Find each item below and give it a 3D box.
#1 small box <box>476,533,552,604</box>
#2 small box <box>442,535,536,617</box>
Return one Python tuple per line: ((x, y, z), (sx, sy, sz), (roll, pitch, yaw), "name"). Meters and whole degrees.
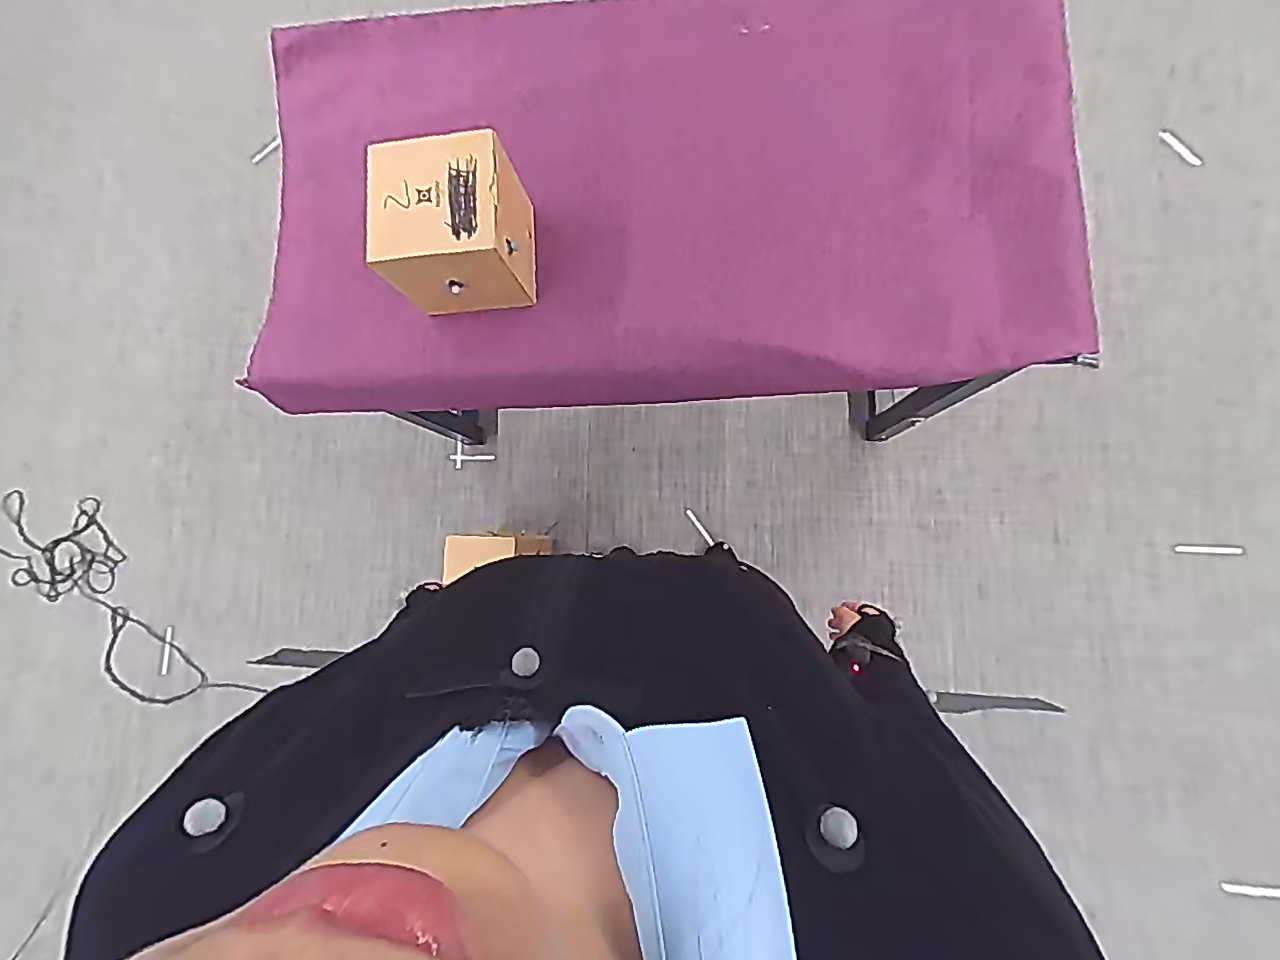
((-0.345, 0.239, 1.456), (0.168, 0.176, 0.179), (7, 84, 6), "small box")
((-0.353, 0.224, 1.291), (0.168, 0.176, 0.179), (1, 84, 6), "small box")
